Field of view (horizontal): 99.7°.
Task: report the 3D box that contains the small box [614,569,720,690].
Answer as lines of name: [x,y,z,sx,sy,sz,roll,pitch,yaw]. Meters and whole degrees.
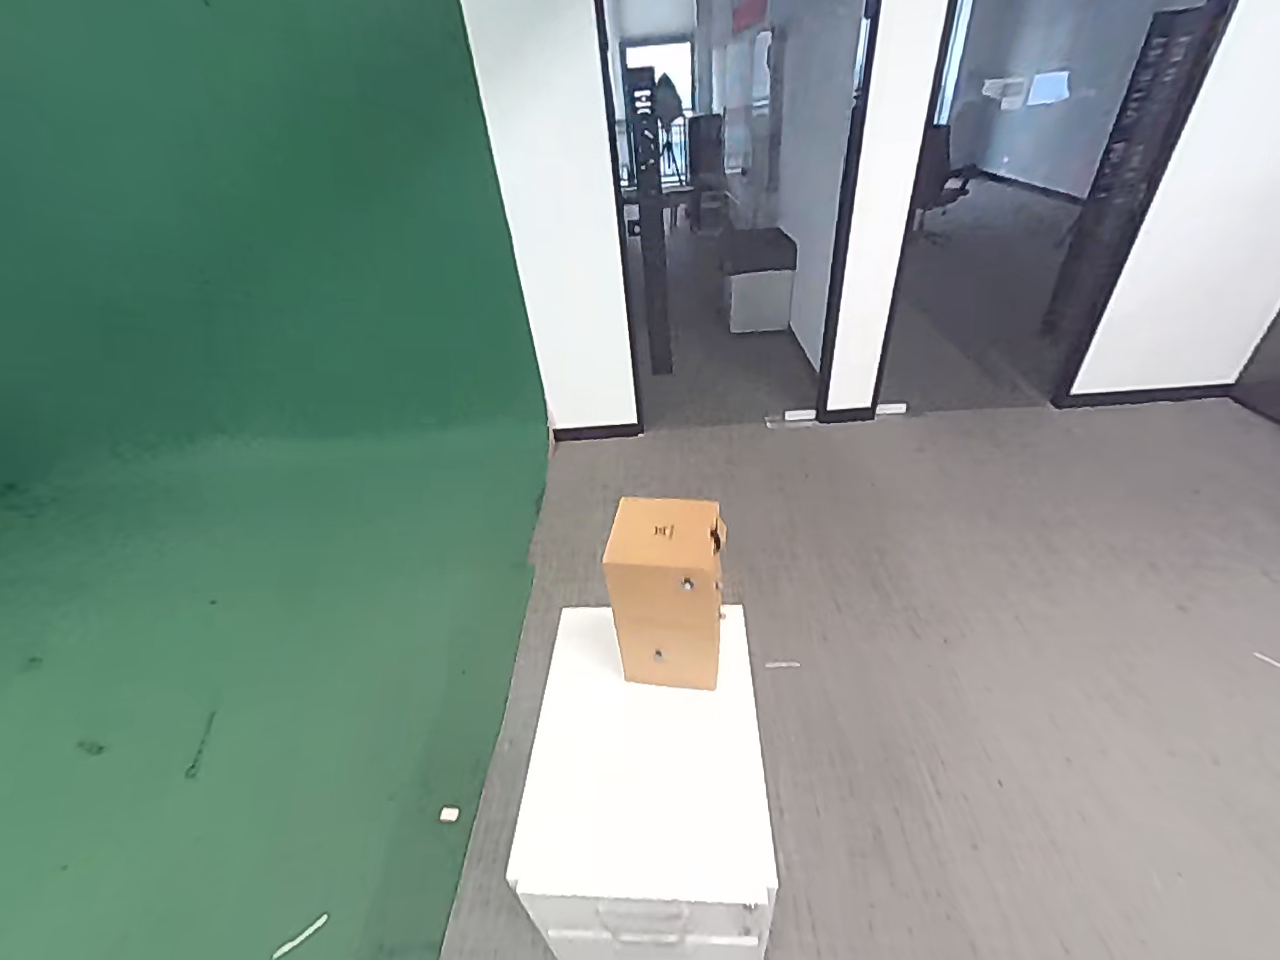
small box: [0.060,0.280,1.035,0.179,0.176,0.168,2,37,11]

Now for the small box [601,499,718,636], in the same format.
small box: [0.042,0.151,0.936,0.179,0.176,0.168,3,37,10]
